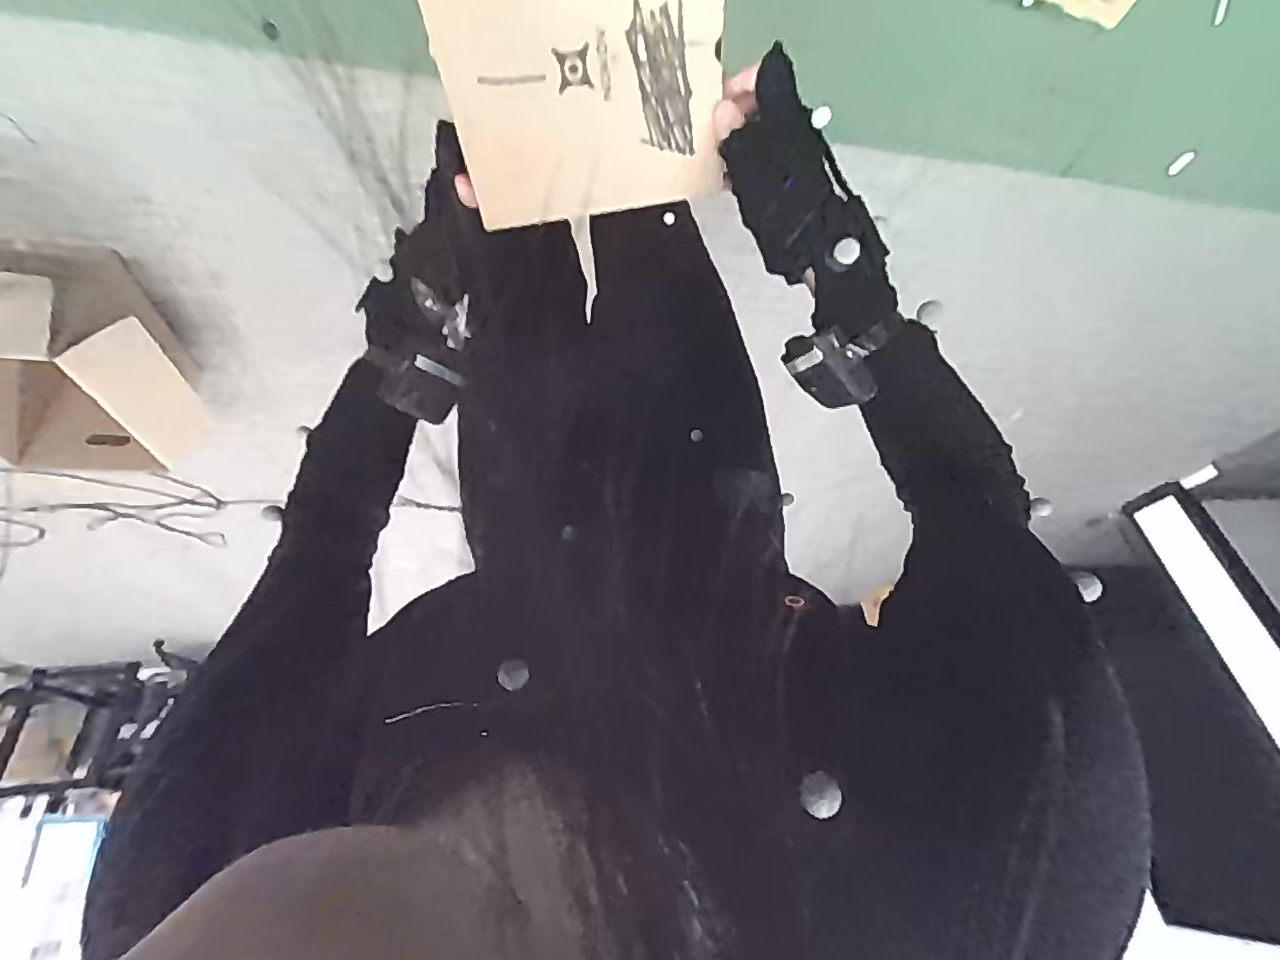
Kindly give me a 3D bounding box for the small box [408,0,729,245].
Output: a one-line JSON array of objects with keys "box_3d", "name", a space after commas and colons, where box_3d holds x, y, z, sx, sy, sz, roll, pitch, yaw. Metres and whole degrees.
[{"box_3d": [-0.046, -0.291, 0.377, 0.179, 0.176, 0.168, -10, 136, -2], "name": "small box"}]
